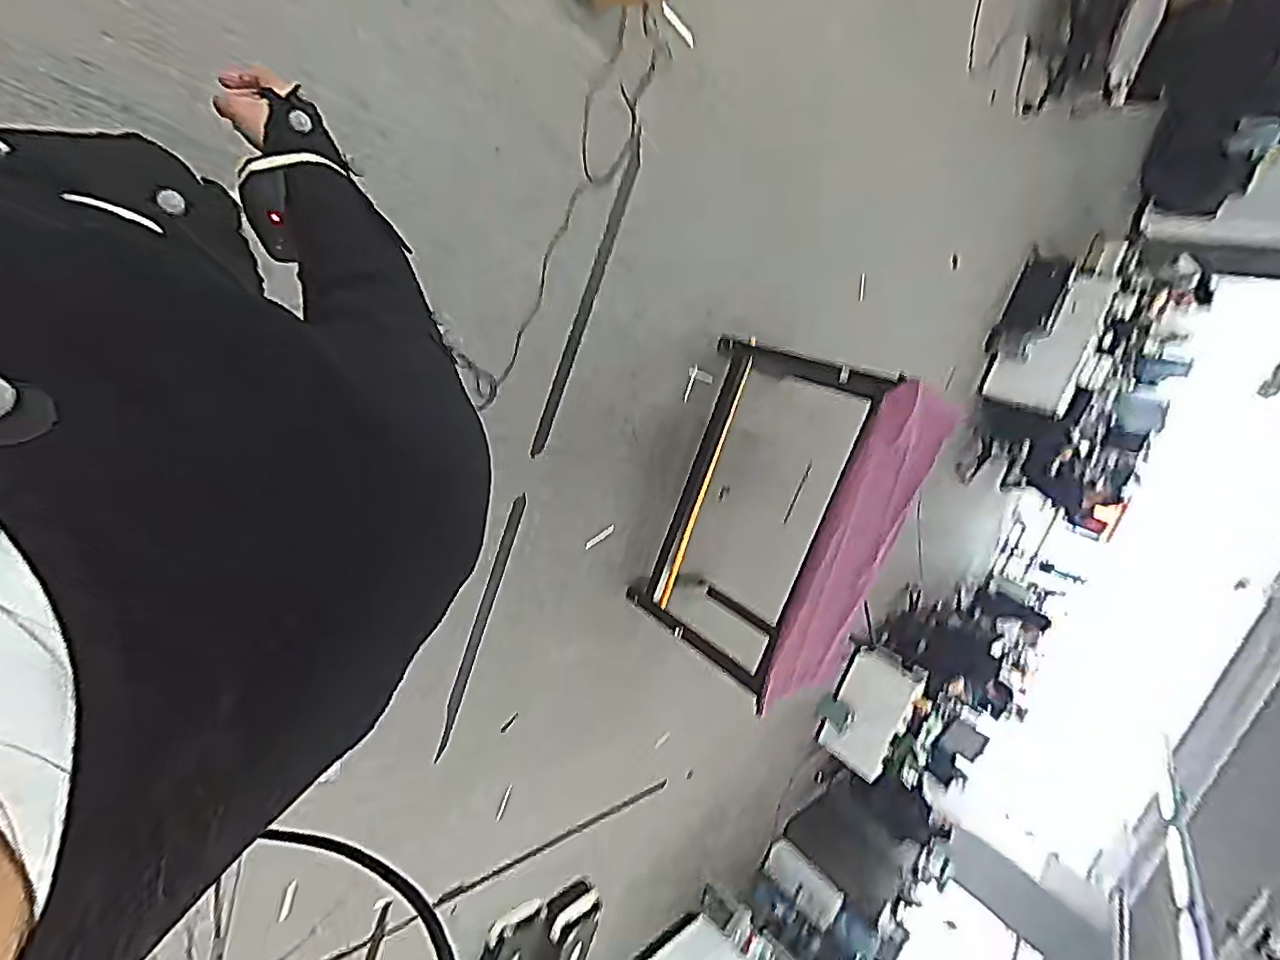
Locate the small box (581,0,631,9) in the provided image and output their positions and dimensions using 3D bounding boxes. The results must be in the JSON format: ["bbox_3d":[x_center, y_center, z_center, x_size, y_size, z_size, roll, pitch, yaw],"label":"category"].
[{"bbox_3d":[-0.088,-1.232,1.228,0.168,0.176,0.179,7,108,-48],"label":"small box"}]
